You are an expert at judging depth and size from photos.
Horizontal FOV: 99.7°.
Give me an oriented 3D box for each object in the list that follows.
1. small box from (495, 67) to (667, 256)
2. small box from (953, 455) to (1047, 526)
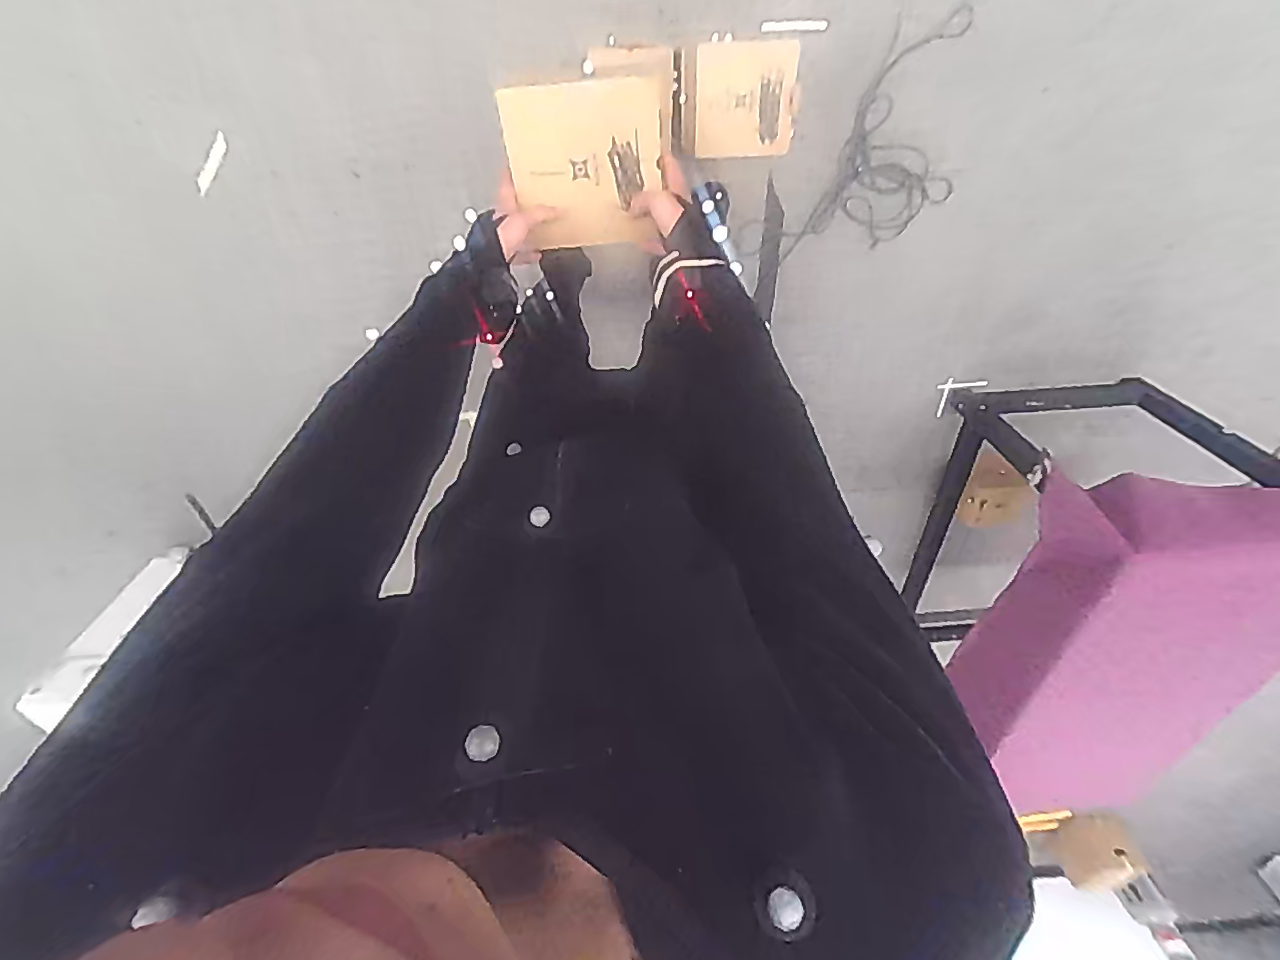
[{"bbox_3d":[-0.064,-0.396,0.668,0.179,0.176,0.168,-5,131,1],"label":"small box"},{"bbox_3d":[1.179,0.031,1.784,0.179,0.176,0.168,-5,126,1],"label":"small box"}]
